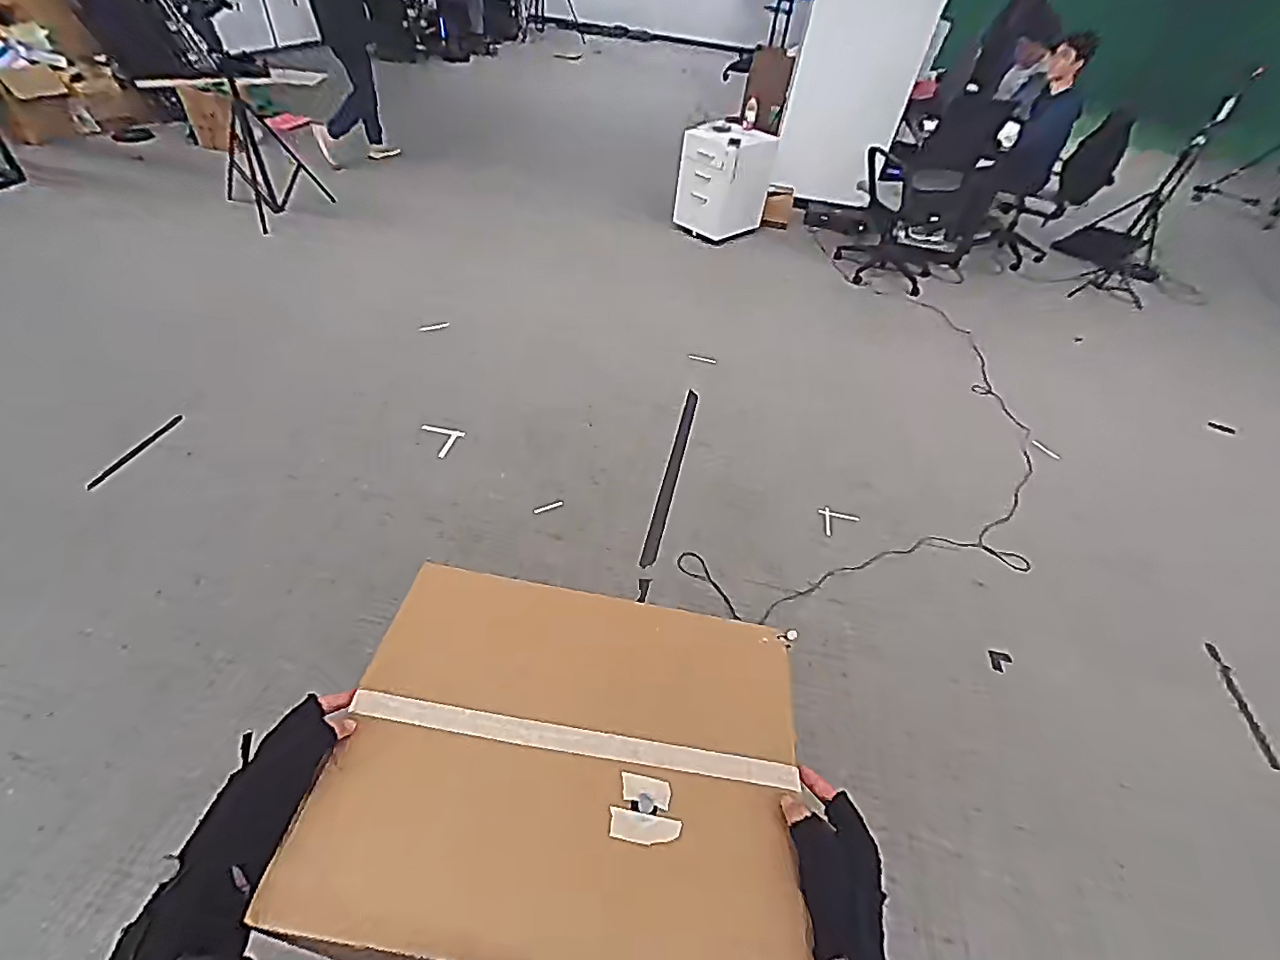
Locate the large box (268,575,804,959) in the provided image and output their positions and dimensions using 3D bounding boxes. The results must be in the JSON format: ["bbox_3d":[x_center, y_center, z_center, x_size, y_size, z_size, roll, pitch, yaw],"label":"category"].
[{"bbox_3d":[-0.081,0.348,0.598,0.408,0.320,0.320,11,44,-1],"label":"large box"}]
